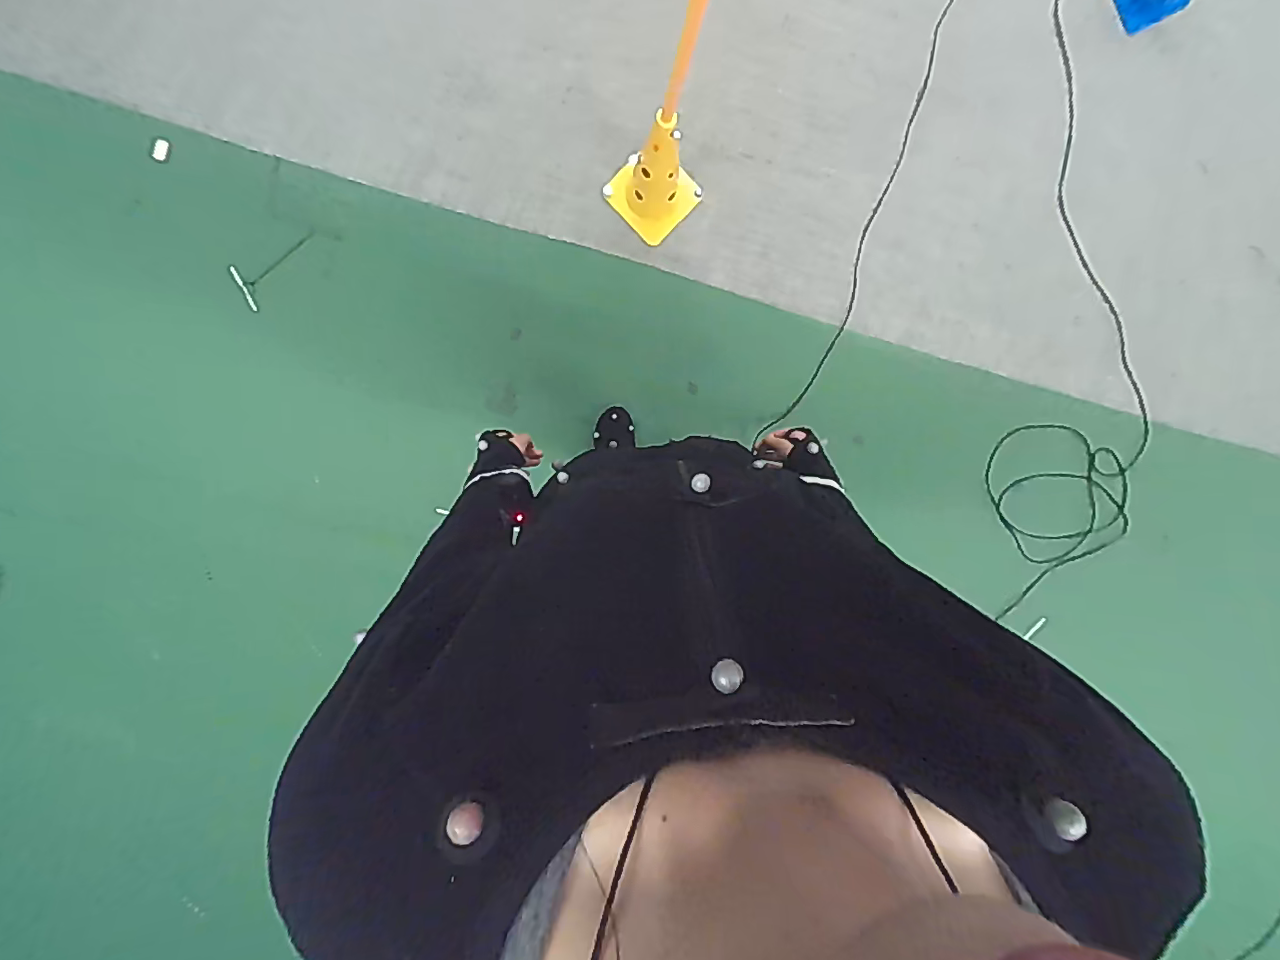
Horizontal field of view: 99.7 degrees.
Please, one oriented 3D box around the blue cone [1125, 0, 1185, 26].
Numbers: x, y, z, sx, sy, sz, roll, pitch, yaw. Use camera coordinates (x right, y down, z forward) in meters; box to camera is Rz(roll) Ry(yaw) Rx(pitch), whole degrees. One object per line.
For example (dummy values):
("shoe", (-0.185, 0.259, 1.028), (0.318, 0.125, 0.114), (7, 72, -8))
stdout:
("blue cone", (1.364, -1.315, 1.262), (0.193, 0.380, 0.192), (-30, 96, -3))
